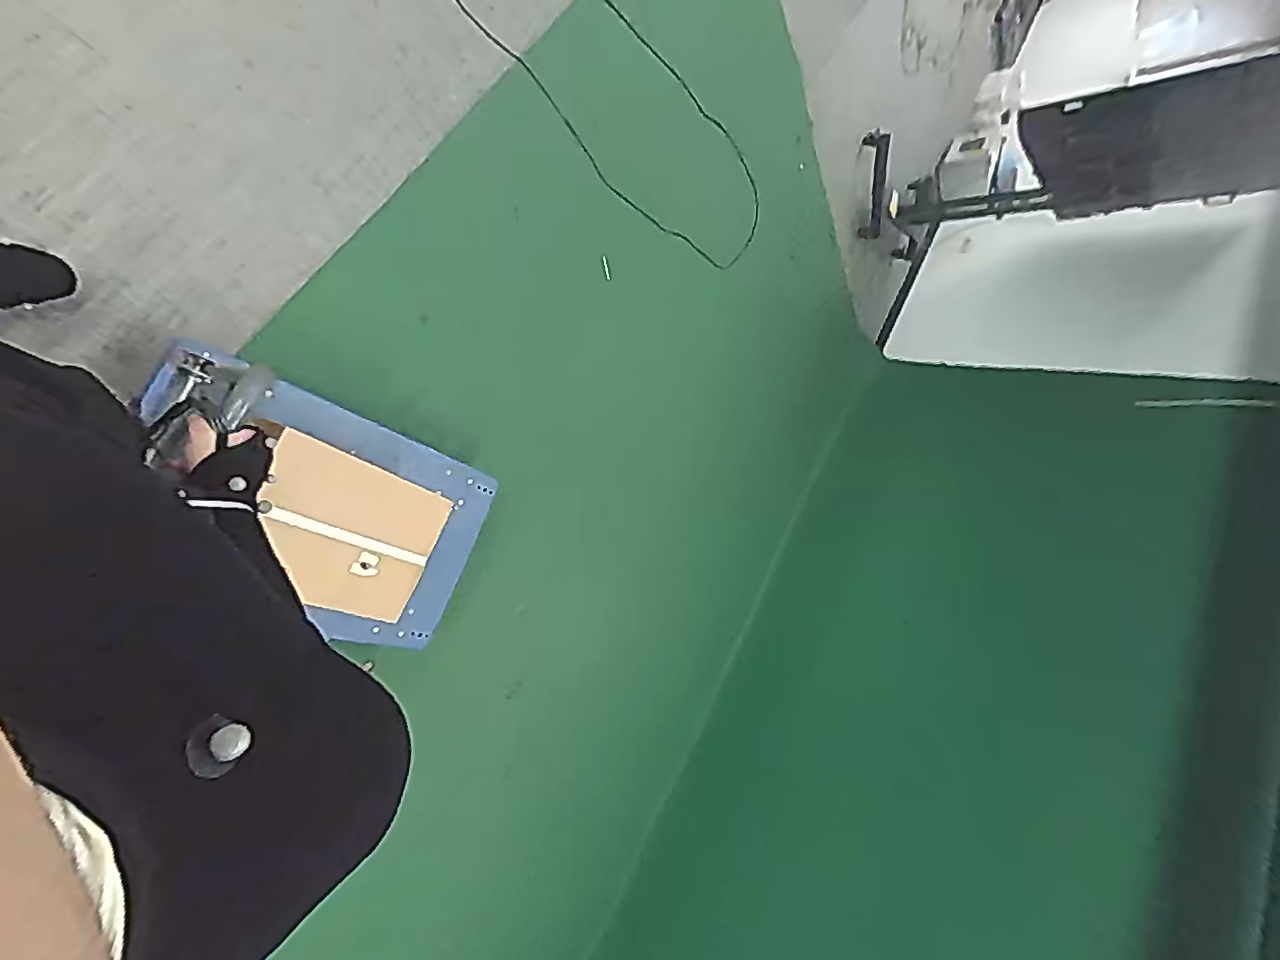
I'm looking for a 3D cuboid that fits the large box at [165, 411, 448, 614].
[{"bbox_3d":[-0.741,0.077,1.231,0.408,0.320,0.320,36,73,-49],"label":"large box"}]
